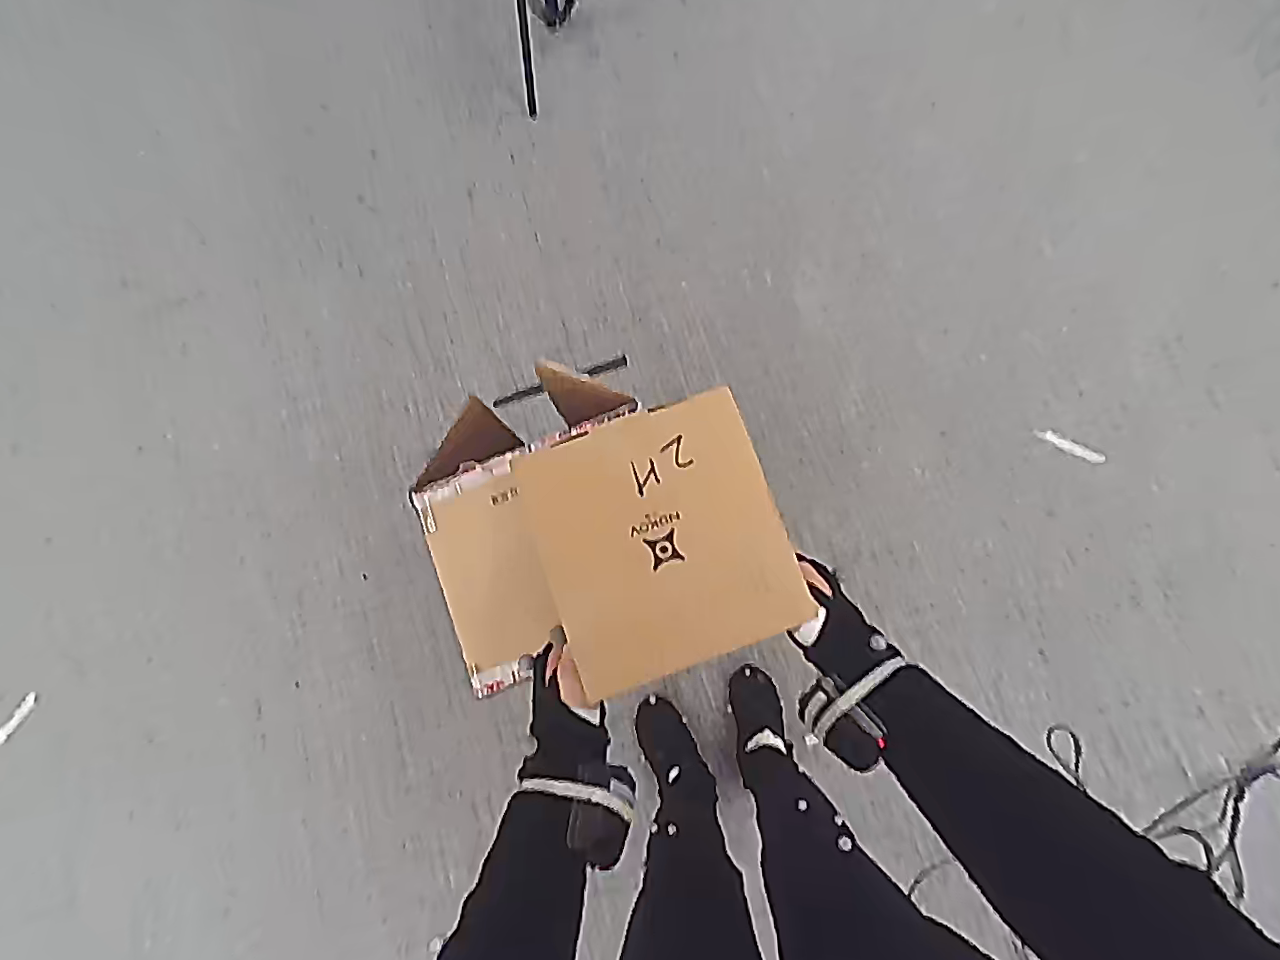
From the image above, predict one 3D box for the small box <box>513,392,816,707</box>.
[{"bbox_3d":[0.015,0.053,0.444,0.168,0.176,0.179,-19,83,-4],"label":"small box"}]
